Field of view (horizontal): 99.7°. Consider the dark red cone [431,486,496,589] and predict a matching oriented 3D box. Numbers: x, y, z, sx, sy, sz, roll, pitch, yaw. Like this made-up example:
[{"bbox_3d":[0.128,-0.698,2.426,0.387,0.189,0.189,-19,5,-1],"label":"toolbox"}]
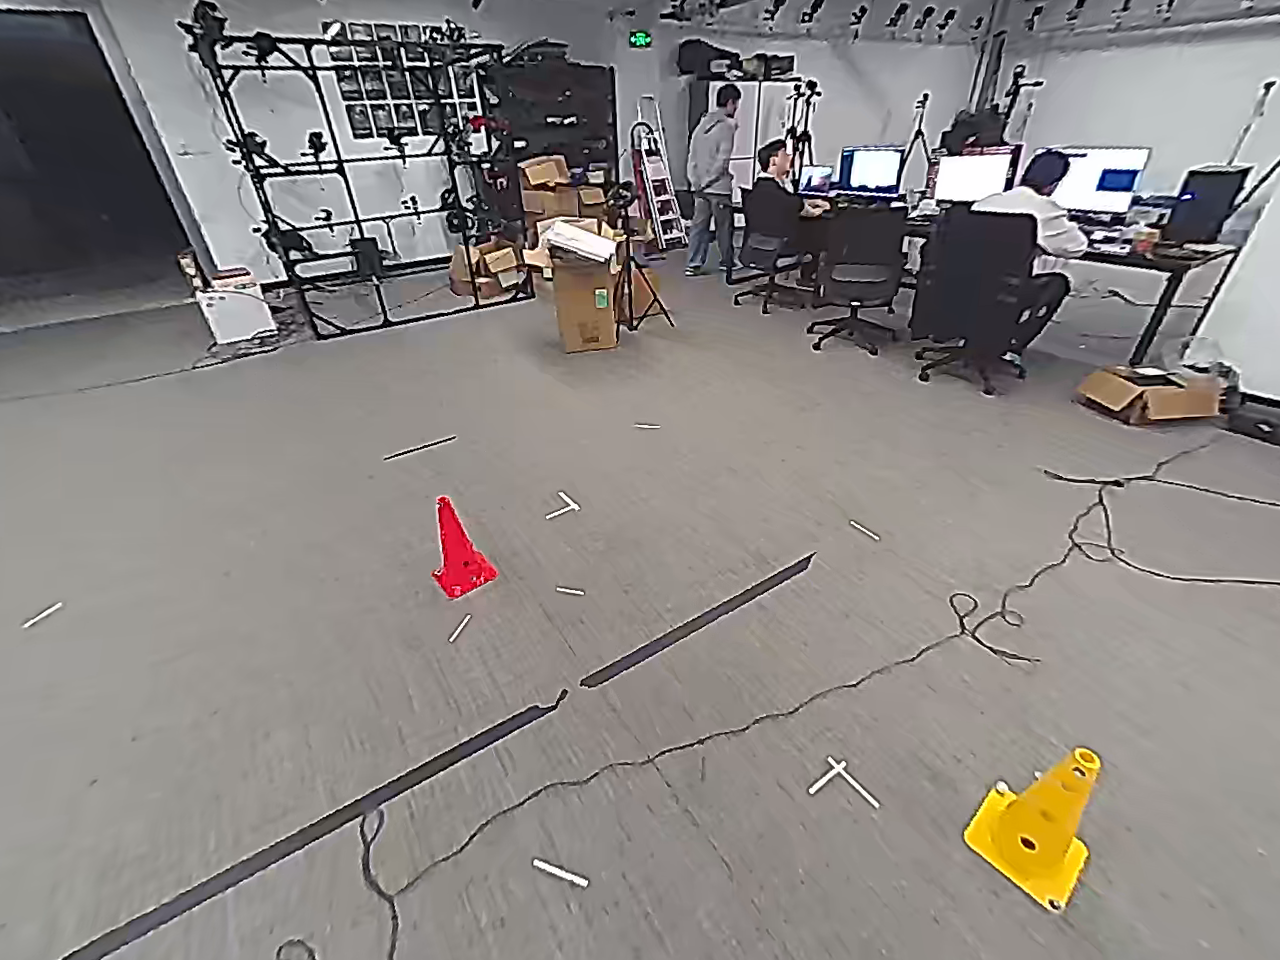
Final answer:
[{"bbox_3d":[-0.680,0.194,1.979,0.202,0.394,0.201,-26,41,-32],"label":"dark red cone"}]
